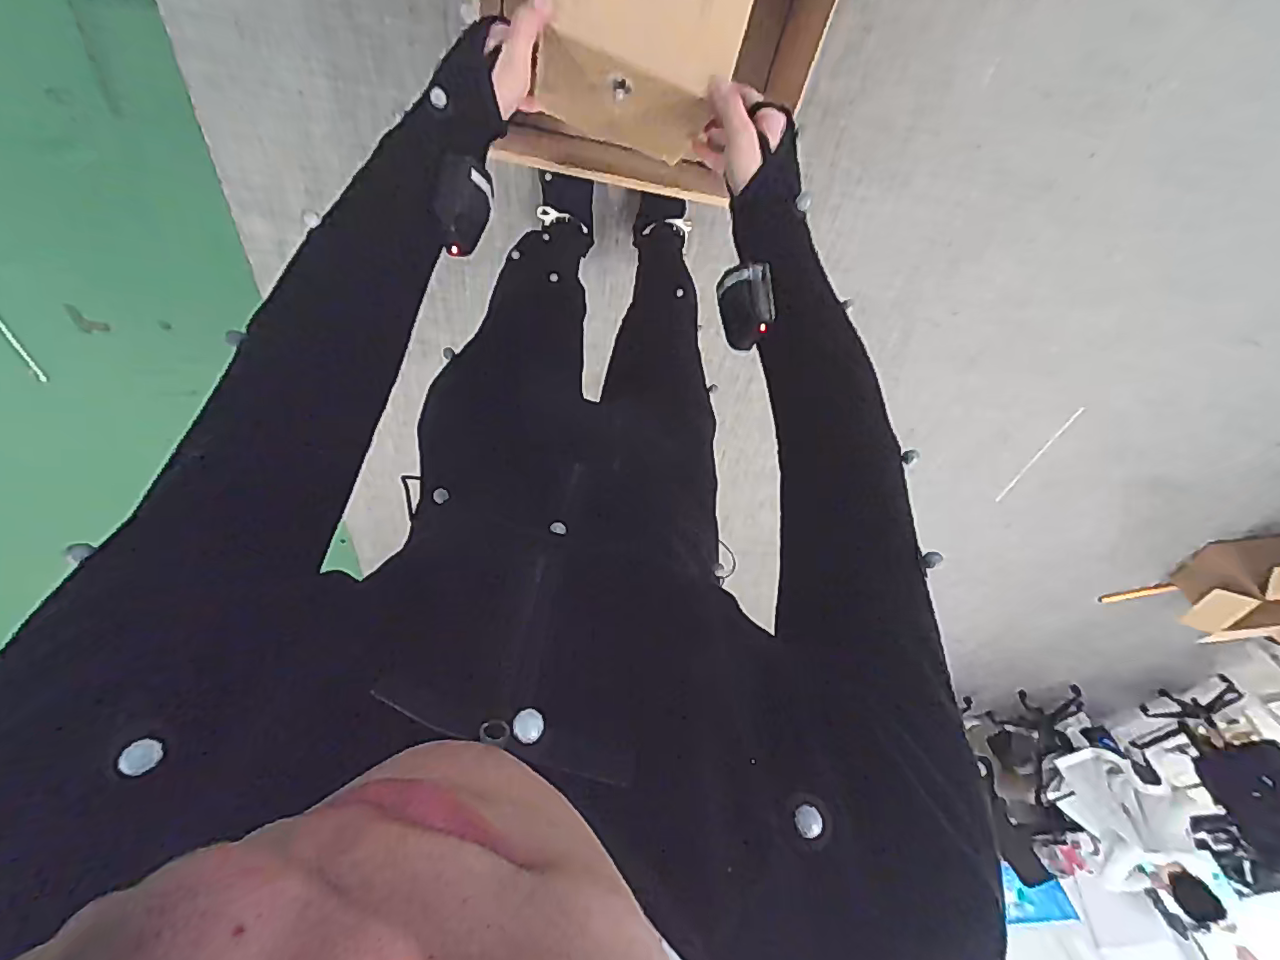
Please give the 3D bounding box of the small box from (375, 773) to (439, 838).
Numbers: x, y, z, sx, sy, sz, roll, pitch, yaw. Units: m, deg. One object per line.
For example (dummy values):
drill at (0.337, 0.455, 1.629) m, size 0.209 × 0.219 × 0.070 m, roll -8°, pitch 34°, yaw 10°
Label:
small box at (-0.805, 1.136, 1.882) m, size 0.179 × 0.176 × 0.168 m, roll 5°, pitch 135°, yaw -14°

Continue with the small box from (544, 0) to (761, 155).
small box at (0.009, -0.459, 0.537) m, size 0.179 × 0.176 × 0.168 m, roll 14°, pitch 99°, yaw -16°
